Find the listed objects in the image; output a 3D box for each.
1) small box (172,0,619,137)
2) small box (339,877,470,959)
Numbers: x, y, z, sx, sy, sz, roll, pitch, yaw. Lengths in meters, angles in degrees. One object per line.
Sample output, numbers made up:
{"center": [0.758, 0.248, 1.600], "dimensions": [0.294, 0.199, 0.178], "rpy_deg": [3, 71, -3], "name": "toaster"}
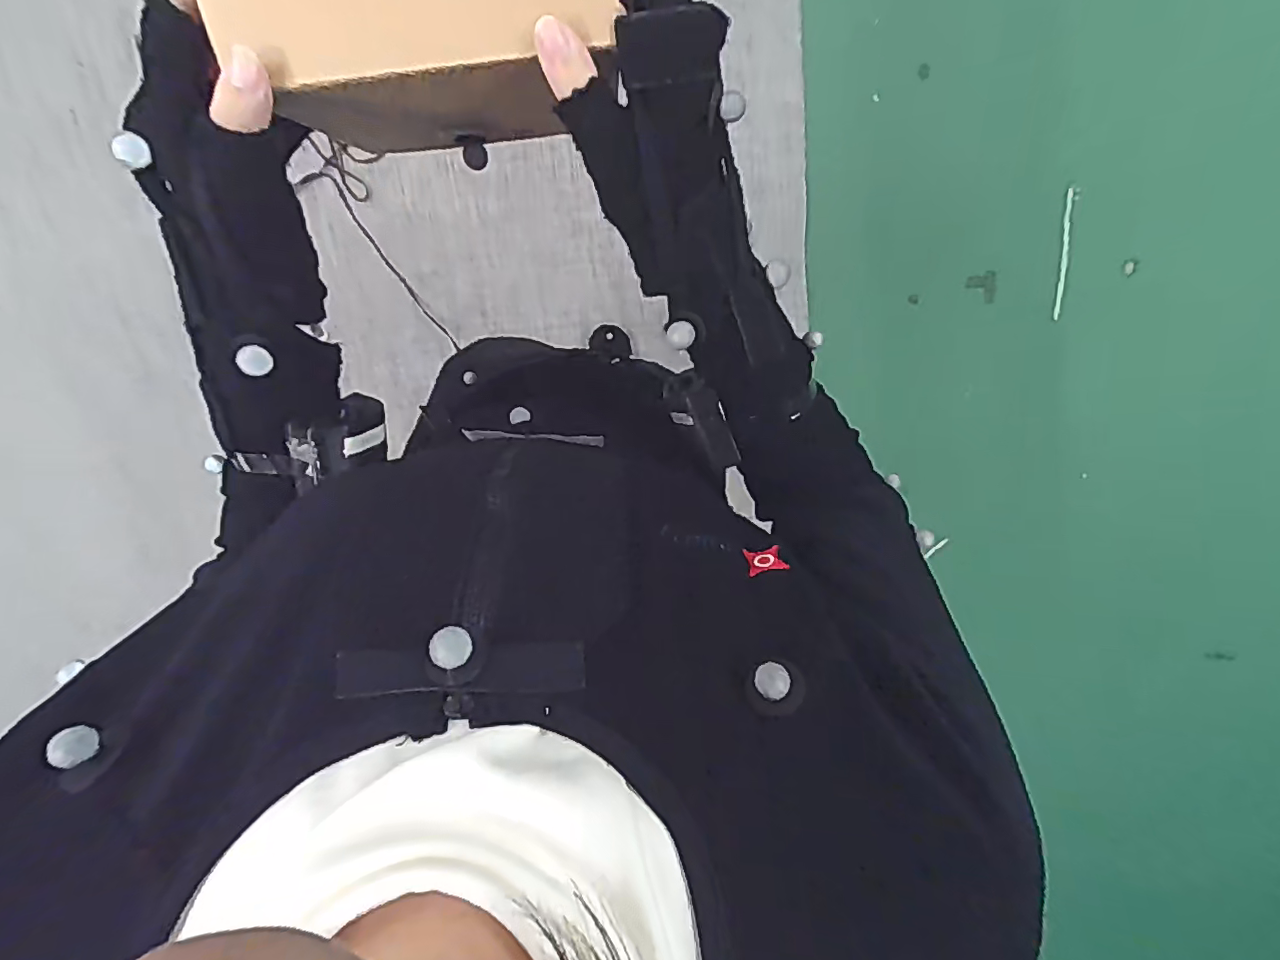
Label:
{"center": [-0.103, -0.281, 0.246], "dimensions": [0.168, 0.176, 0.179], "rpy_deg": [-8, 114, 0], "name": "small box"}
{"center": [-0.413, 0.855, 0.960], "dimensions": [0.168, 0.176, 0.179], "rpy_deg": [-7, 106, -2], "name": "small box"}
